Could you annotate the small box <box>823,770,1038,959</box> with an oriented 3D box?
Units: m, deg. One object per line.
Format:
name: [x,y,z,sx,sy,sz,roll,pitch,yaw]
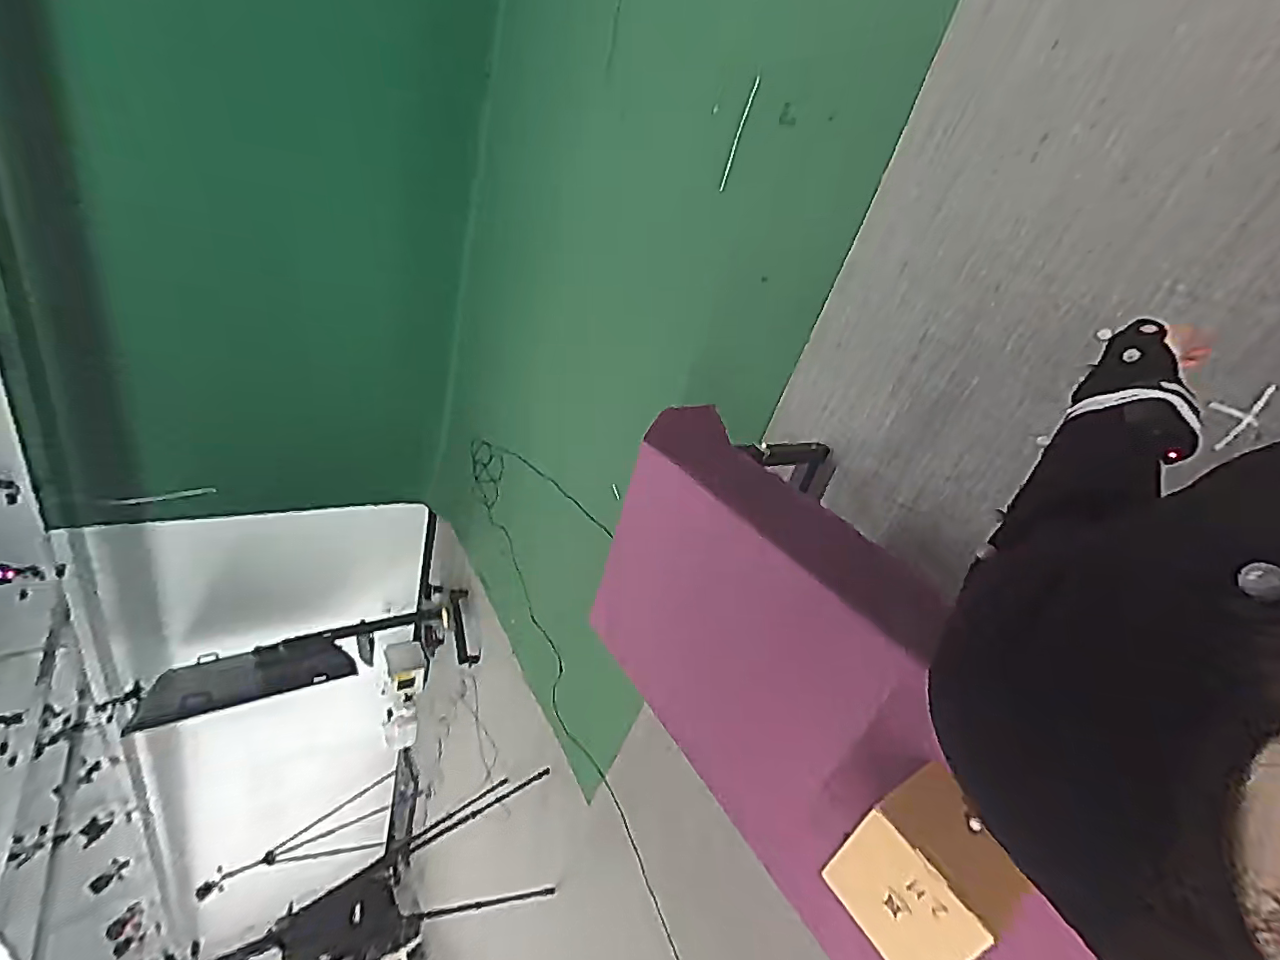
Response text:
small box: [0.393,0.543,0.738,0.168,0.176,0.179,44,126,41]
